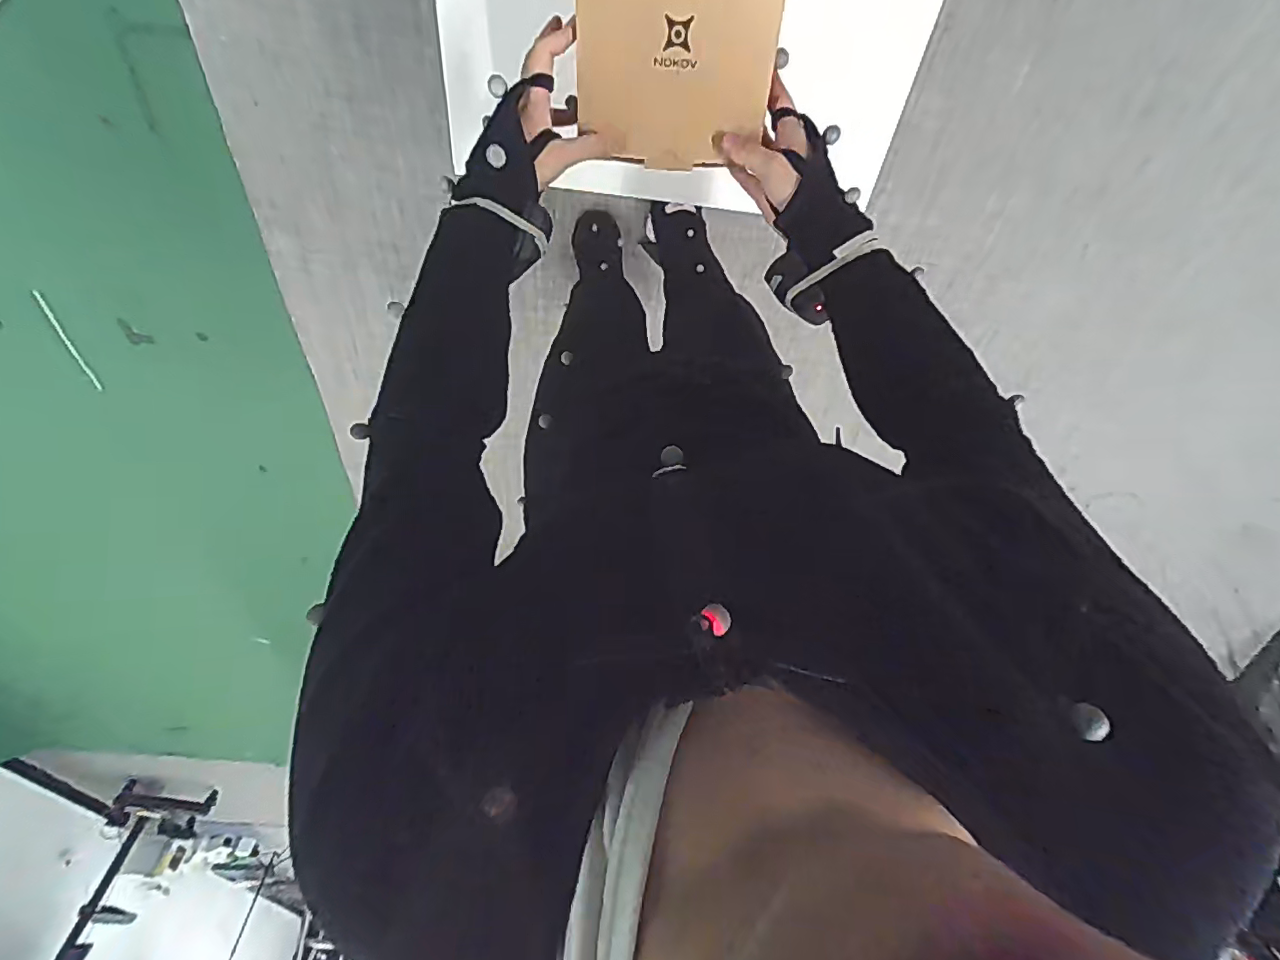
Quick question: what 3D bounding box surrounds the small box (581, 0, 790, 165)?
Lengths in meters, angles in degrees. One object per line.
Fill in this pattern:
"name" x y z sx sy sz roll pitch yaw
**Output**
"small box" 0.034 -0.407 0.494 0.168 0.176 0.179 3 132 0
